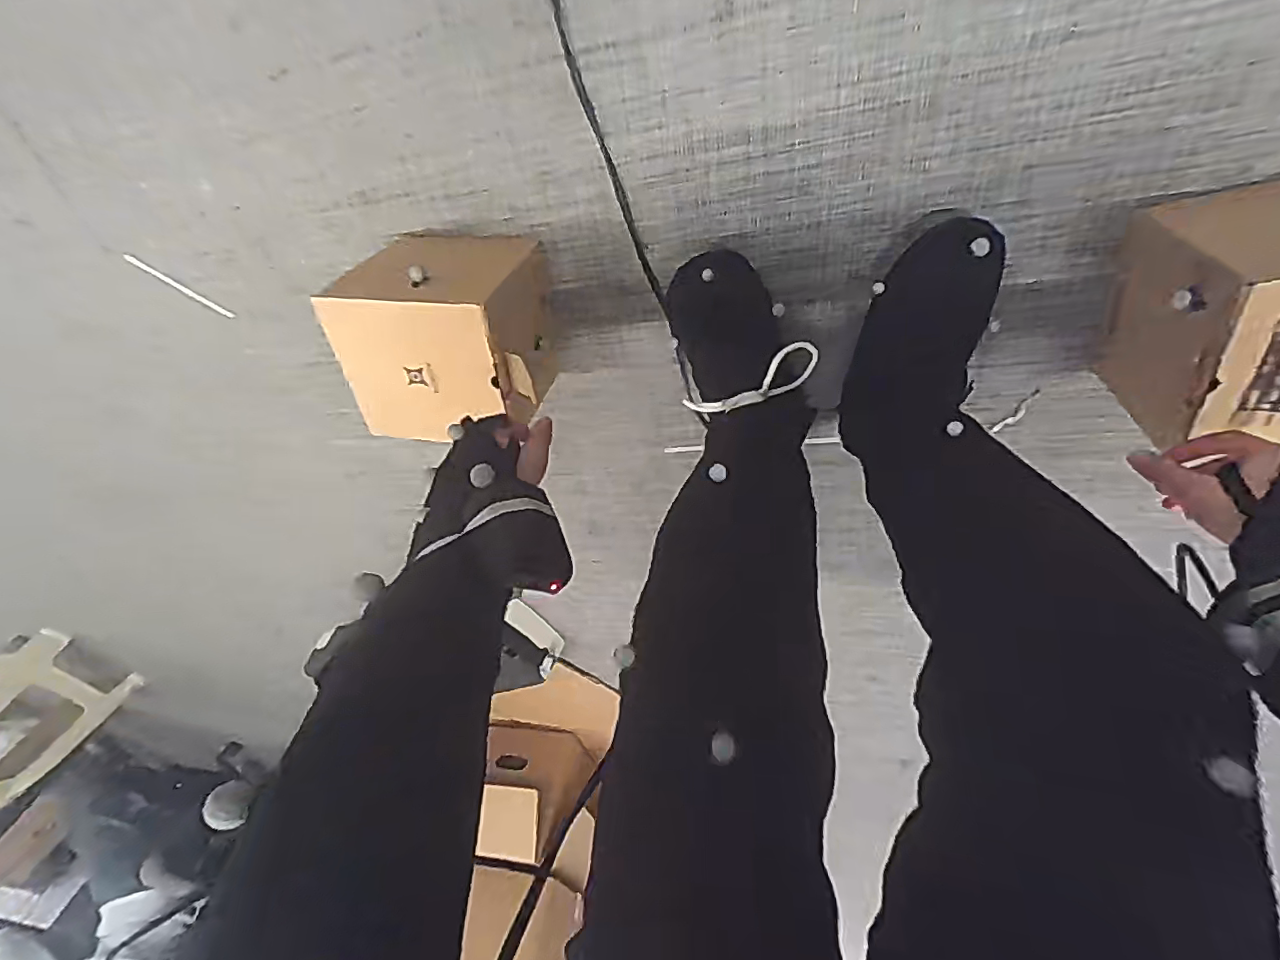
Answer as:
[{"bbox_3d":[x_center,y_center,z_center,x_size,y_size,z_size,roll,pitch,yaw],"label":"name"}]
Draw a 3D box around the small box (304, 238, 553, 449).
[{"bbox_3d":[-0.212,-0.155,0.598,0.179,0.176,0.168,5,133,9],"label":"small box"}]
